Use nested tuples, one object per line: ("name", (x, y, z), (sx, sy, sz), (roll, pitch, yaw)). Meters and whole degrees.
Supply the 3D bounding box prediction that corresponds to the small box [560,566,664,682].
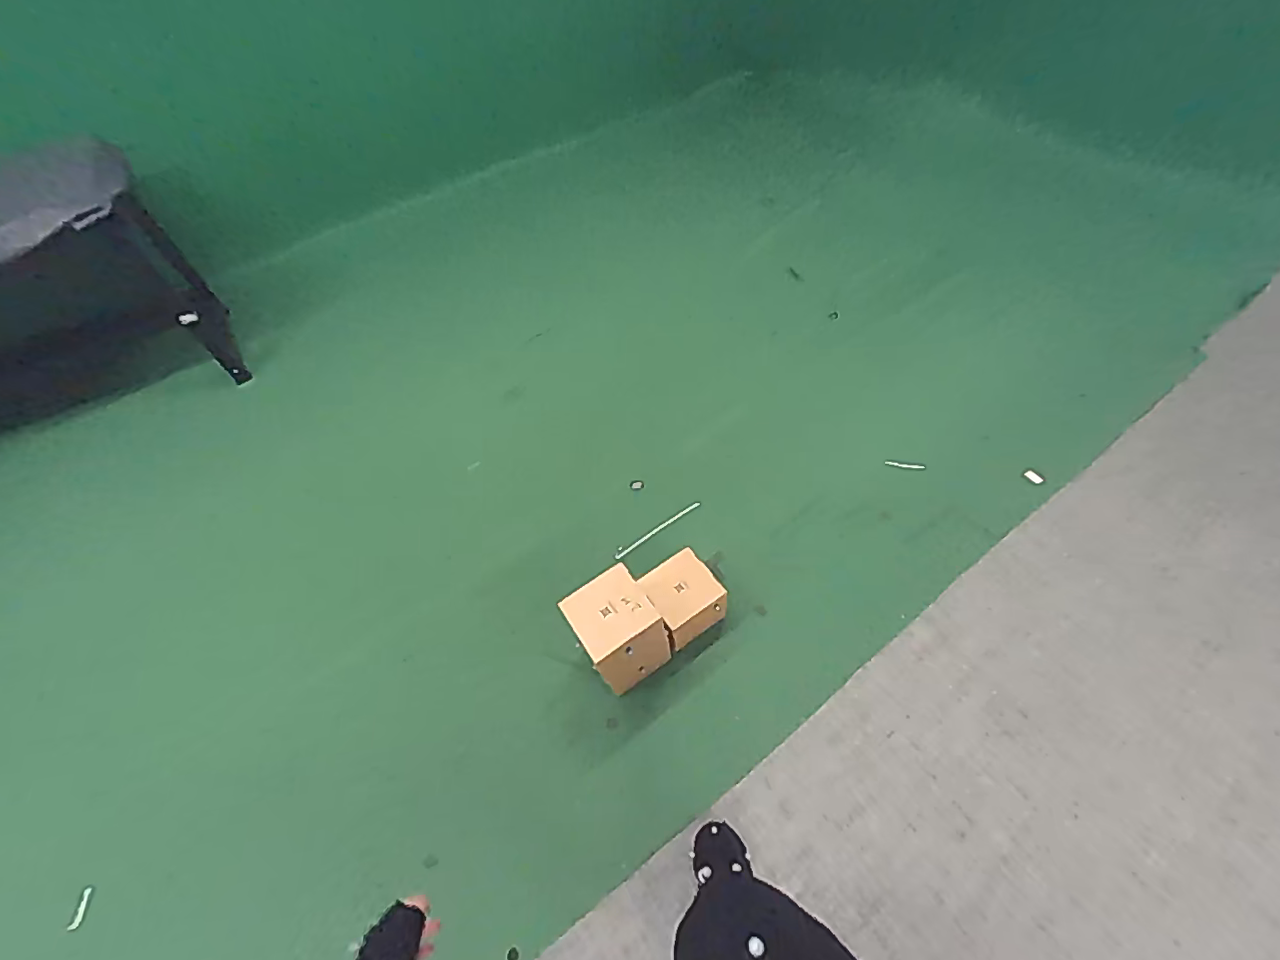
("small box", (-0.058, 0.337, 1.250), (0.179, 0.176, 0.168), (-31, 58, -15))
